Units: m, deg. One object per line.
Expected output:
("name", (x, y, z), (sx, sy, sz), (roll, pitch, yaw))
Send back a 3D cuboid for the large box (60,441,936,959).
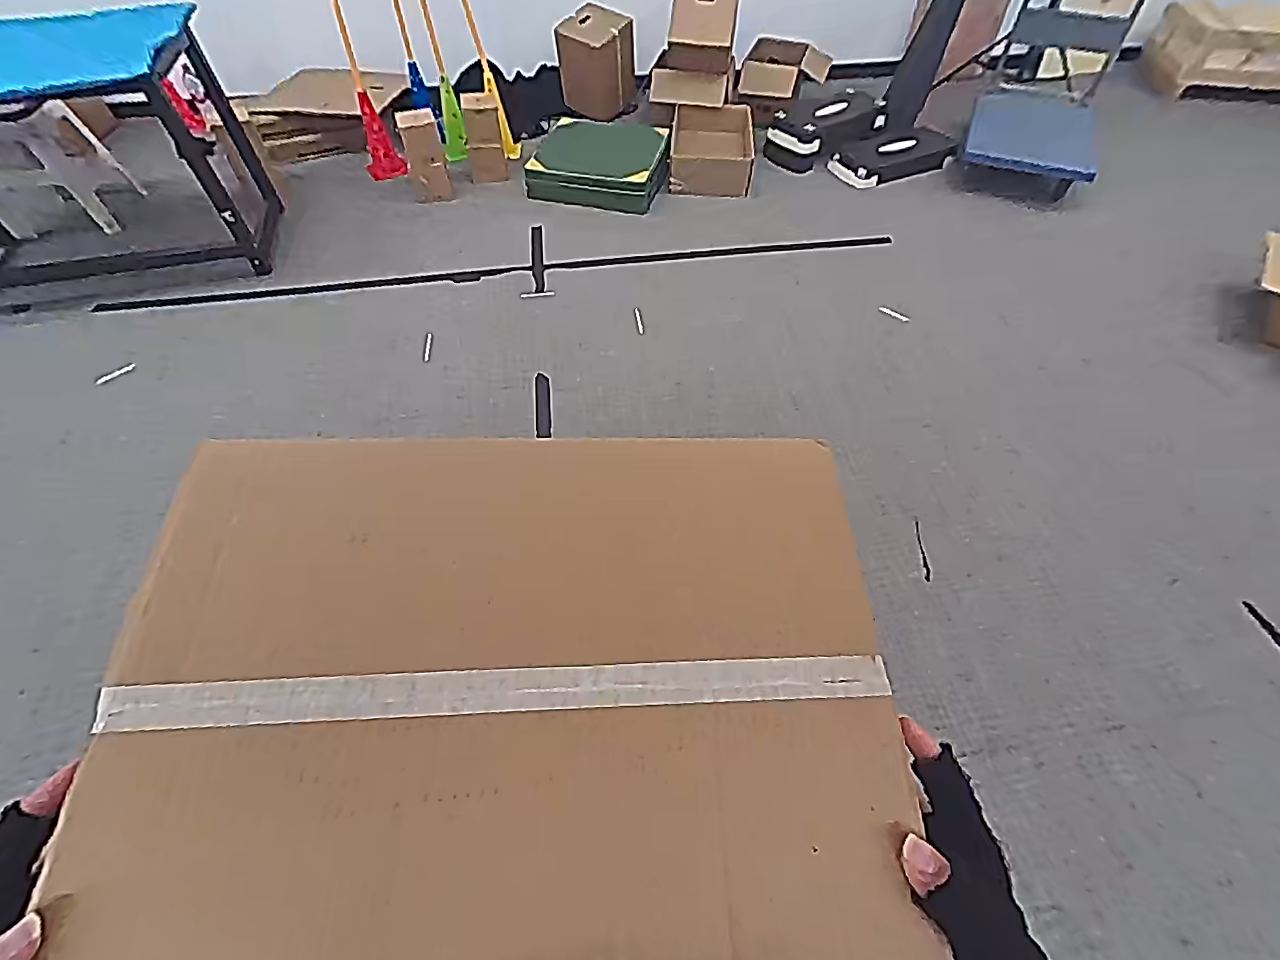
("large box", (-0.074, 0.180, 0.435), (0.408, 0.320, 0.320), (-1, 64, -4))
